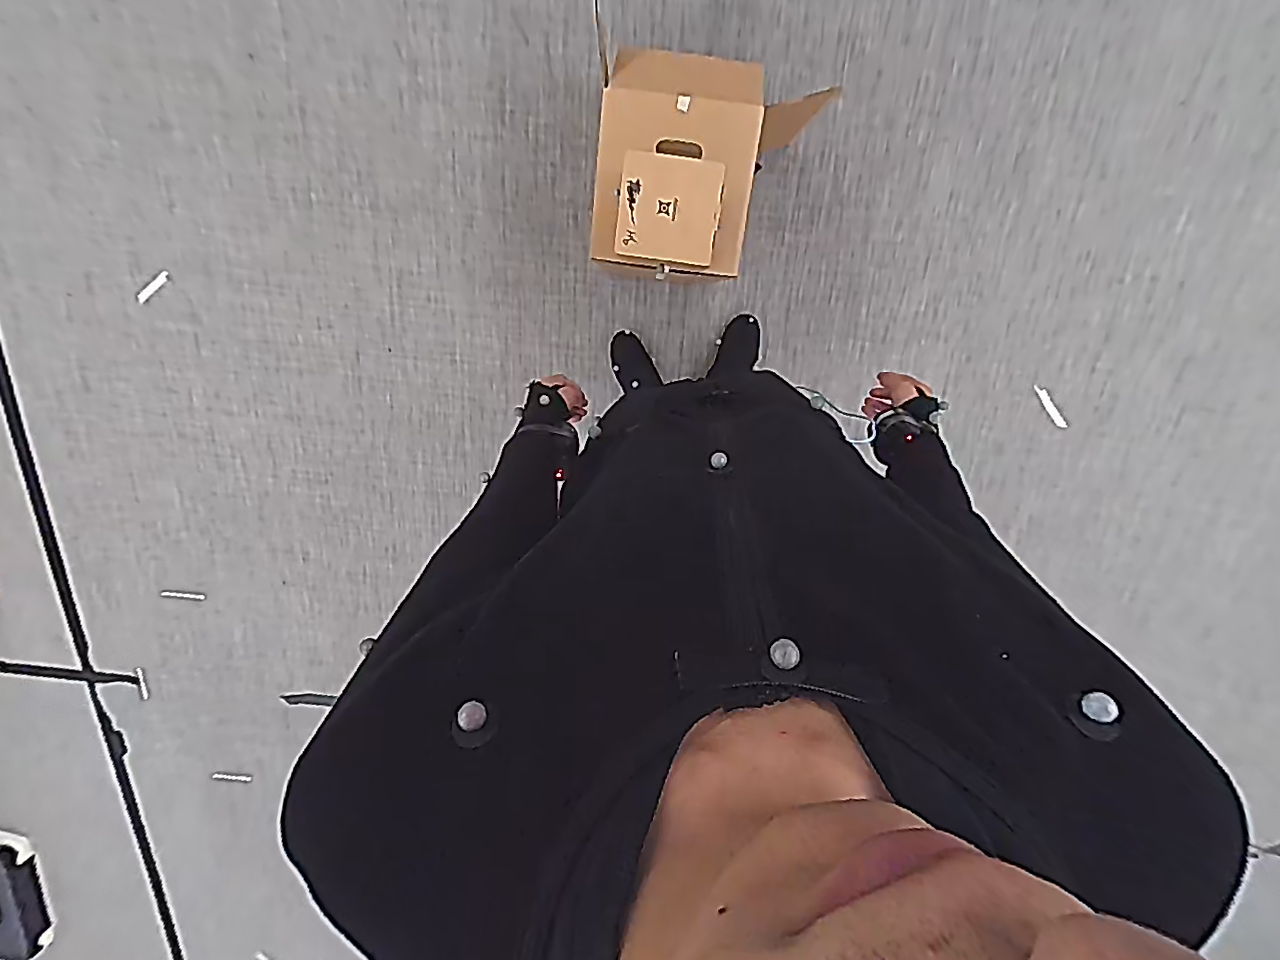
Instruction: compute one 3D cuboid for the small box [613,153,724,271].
[{"bbox_3d":[0.049,-0.495,1.019,0.179,0.176,0.168,8,110,-1],"label":"small box"}]
